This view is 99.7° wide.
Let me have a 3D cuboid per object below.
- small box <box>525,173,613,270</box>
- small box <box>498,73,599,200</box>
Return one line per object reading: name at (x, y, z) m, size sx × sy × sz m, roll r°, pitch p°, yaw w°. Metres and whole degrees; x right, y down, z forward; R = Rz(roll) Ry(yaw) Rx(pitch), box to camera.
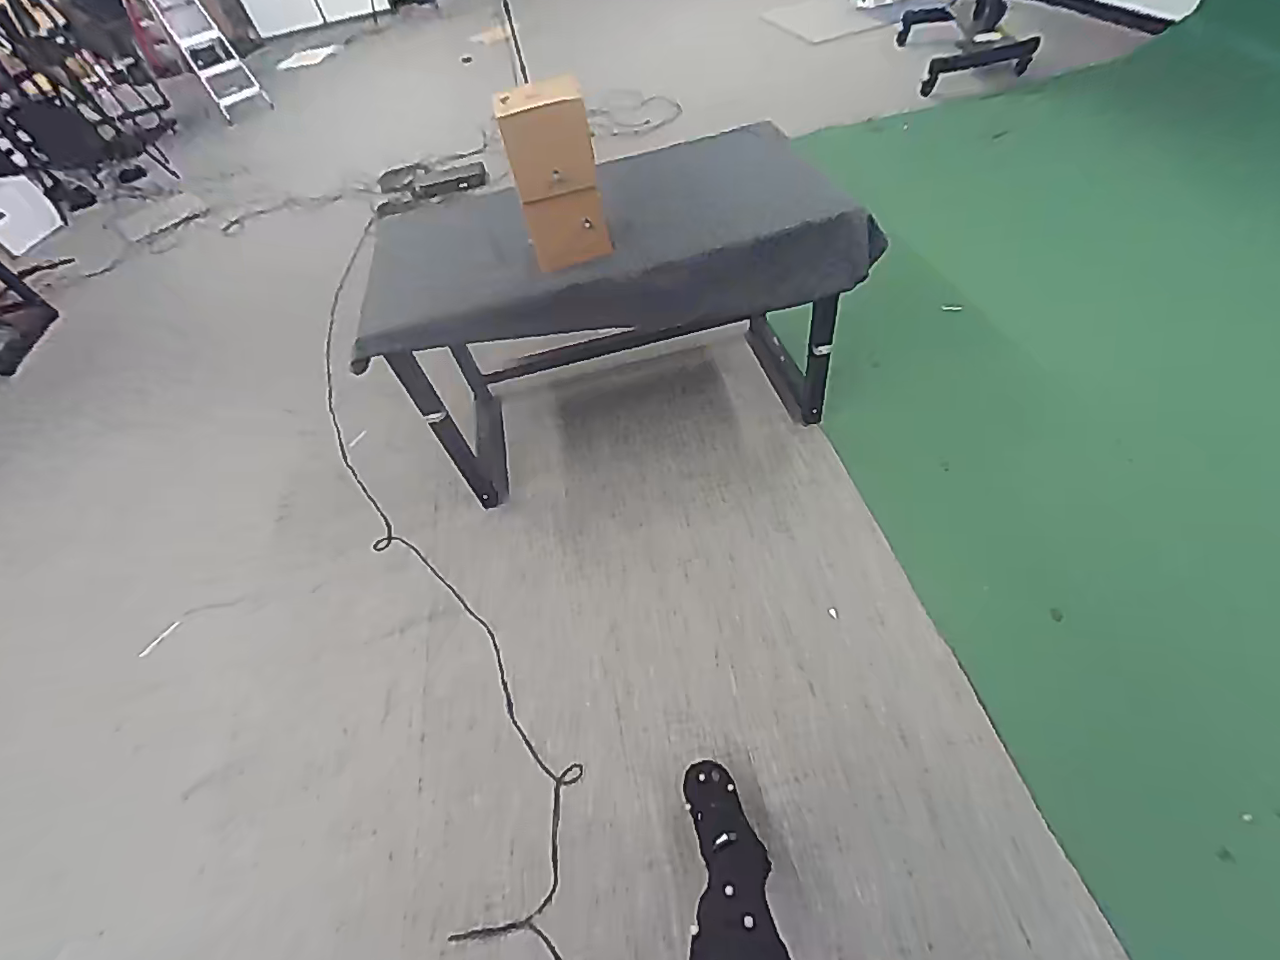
small box at (-0.167, -0.629, 1.277) m, size 0.179 × 0.176 × 0.168 m, roll -16°, pitch 50°, yaw 0°
small box at (-0.189, -0.726, 1.147) m, size 0.179 × 0.176 × 0.168 m, roll -14°, pitch 50°, yaw -1°
